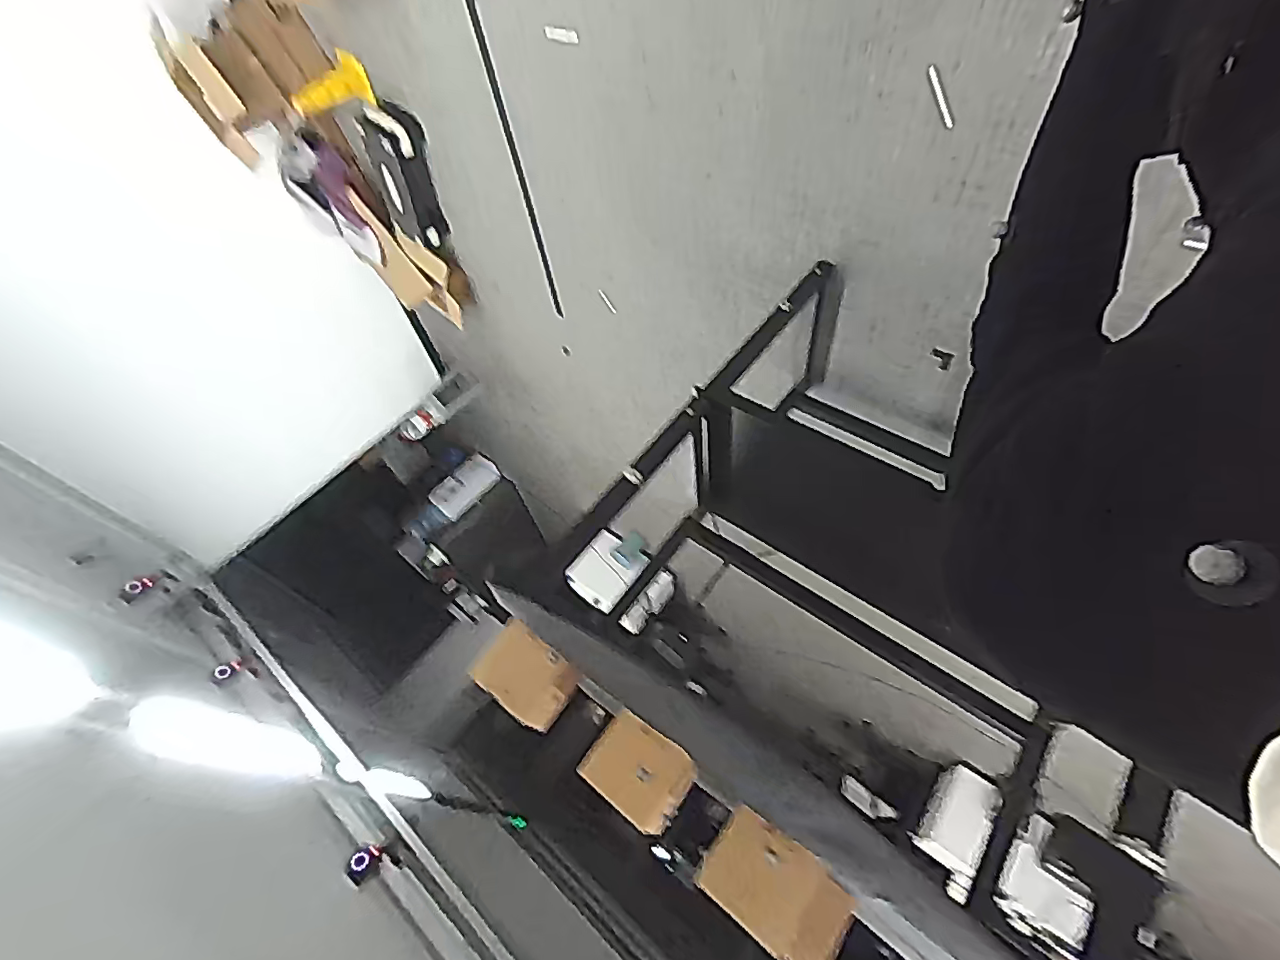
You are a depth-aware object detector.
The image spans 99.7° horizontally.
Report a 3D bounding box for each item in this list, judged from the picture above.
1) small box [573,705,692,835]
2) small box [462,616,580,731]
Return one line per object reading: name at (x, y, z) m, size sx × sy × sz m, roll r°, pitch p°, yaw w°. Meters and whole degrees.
small box at (-0.007, 0.590, 1.109) m, size 0.168 × 0.176 × 0.179 m, roll 30°, pitch 156°, yaw 25°
small box at (-0.259, 0.433, 1.220) m, size 0.168 × 0.176 × 0.179 m, roll 31°, pitch 158°, yaw 23°
